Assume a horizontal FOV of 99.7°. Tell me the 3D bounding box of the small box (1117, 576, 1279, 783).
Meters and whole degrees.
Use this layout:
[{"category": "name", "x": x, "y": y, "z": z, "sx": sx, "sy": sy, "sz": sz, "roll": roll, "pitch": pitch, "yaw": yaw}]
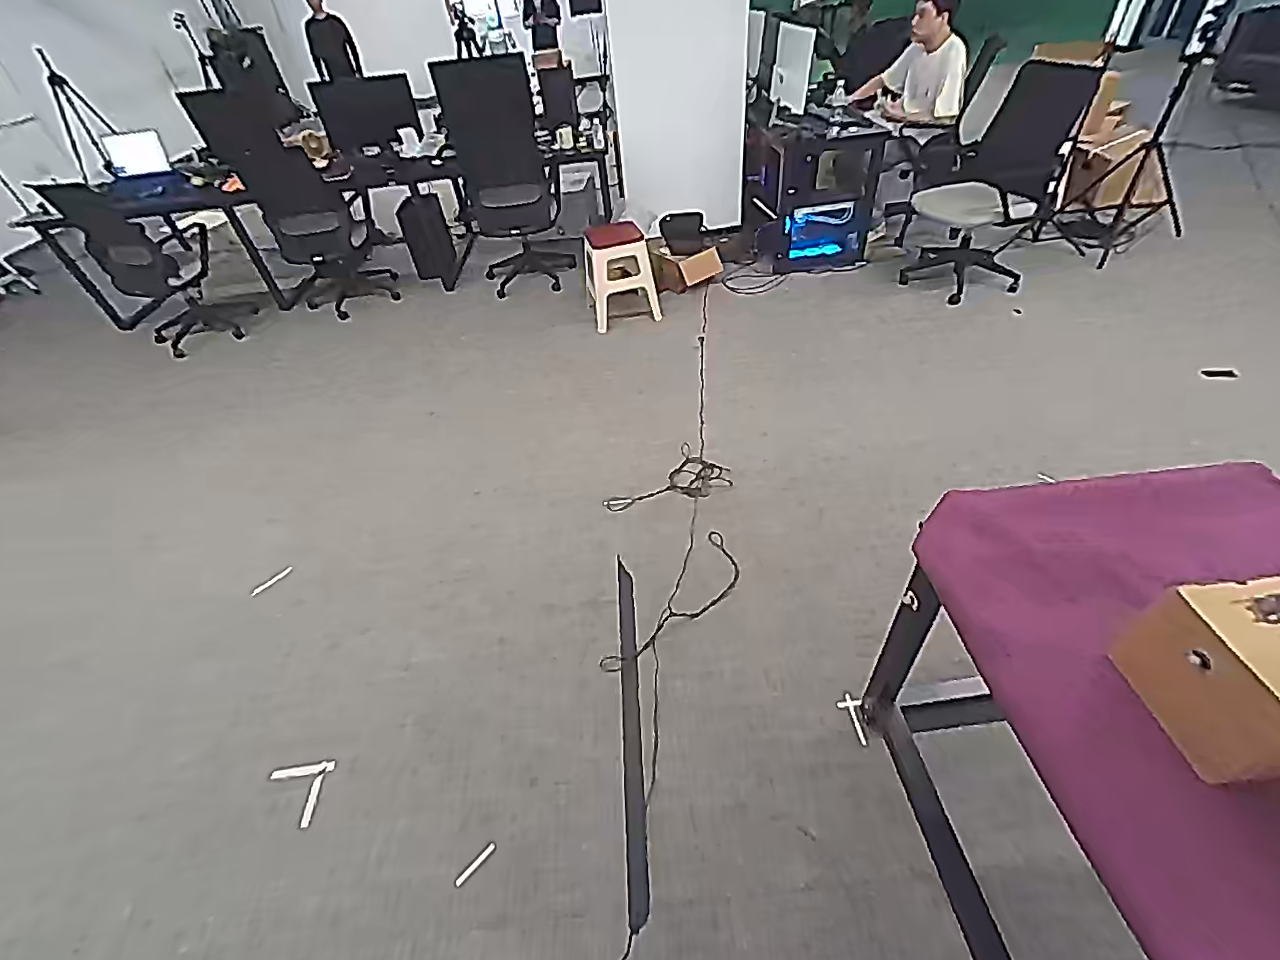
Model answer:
[{"category": "small box", "x": 0.751, "y": 0.240, "z": 0.658, "sx": 0.168, "sy": 0.176, "sz": 0.179, "roll": -7, "pitch": 44, "yaw": 1}]
